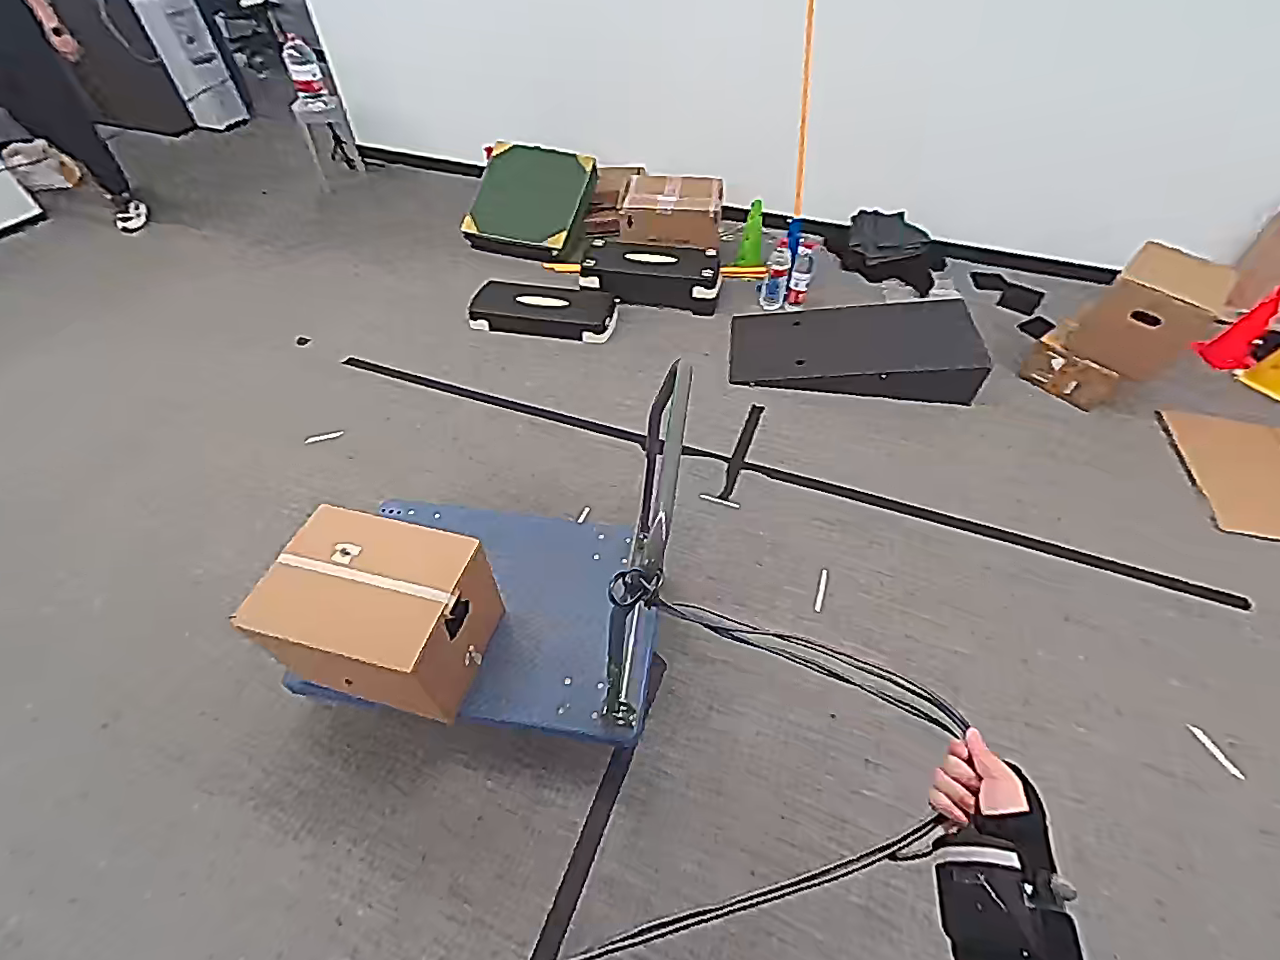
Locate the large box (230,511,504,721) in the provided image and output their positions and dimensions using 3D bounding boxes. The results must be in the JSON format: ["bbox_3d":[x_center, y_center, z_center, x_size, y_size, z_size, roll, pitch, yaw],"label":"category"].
[{"bbox_3d":[-0.578,0.312,1.237,0.408,0.320,0.320,11,50,9],"label":"large box"}]
